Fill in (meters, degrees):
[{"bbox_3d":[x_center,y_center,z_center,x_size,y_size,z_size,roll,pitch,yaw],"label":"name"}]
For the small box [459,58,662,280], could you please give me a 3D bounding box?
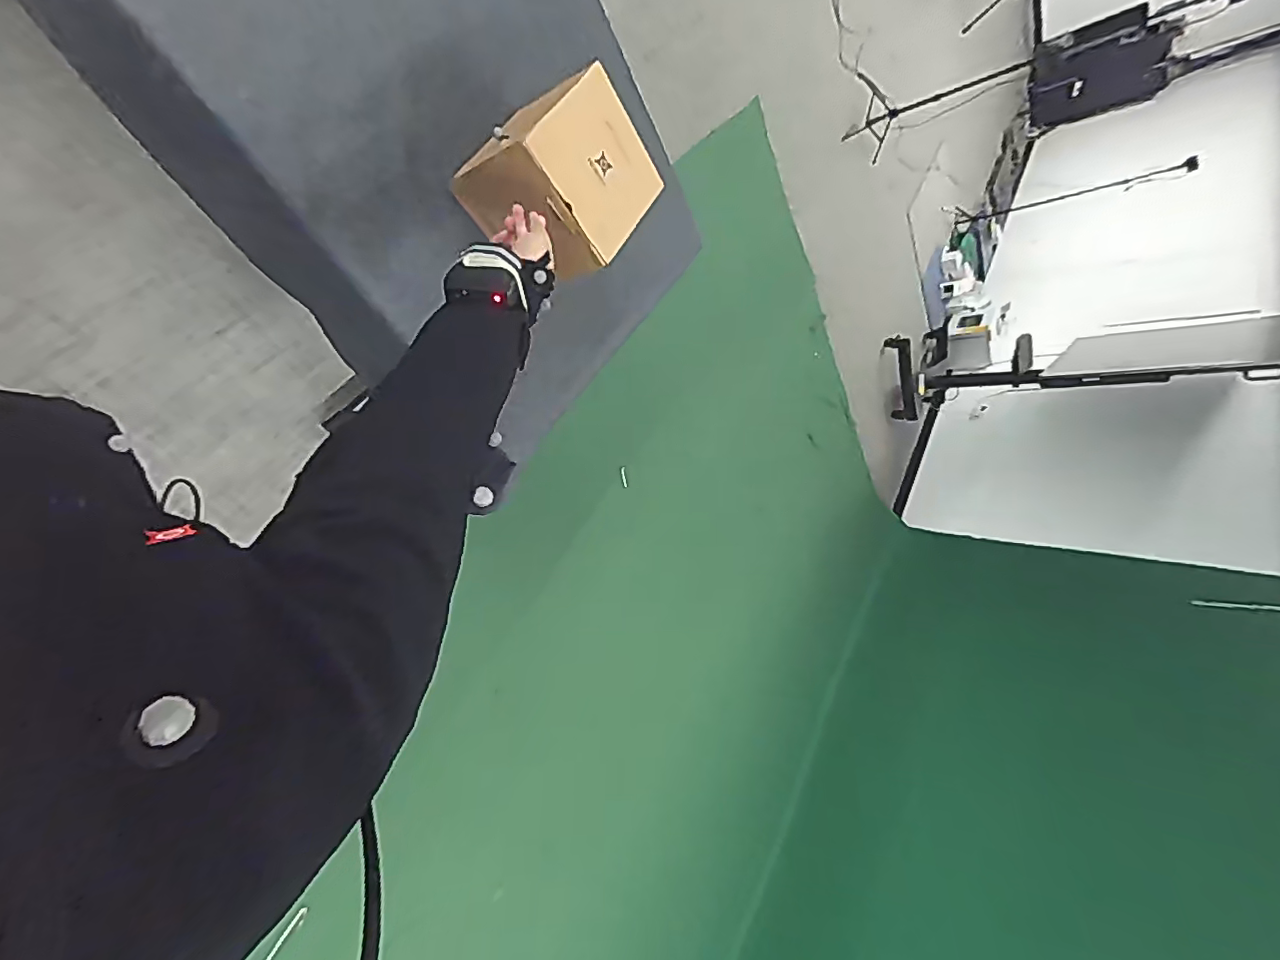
[{"bbox_3d":[-0.107,-0.390,0.709,0.168,0.176,0.179,49,58,-40],"label":"small box"}]
